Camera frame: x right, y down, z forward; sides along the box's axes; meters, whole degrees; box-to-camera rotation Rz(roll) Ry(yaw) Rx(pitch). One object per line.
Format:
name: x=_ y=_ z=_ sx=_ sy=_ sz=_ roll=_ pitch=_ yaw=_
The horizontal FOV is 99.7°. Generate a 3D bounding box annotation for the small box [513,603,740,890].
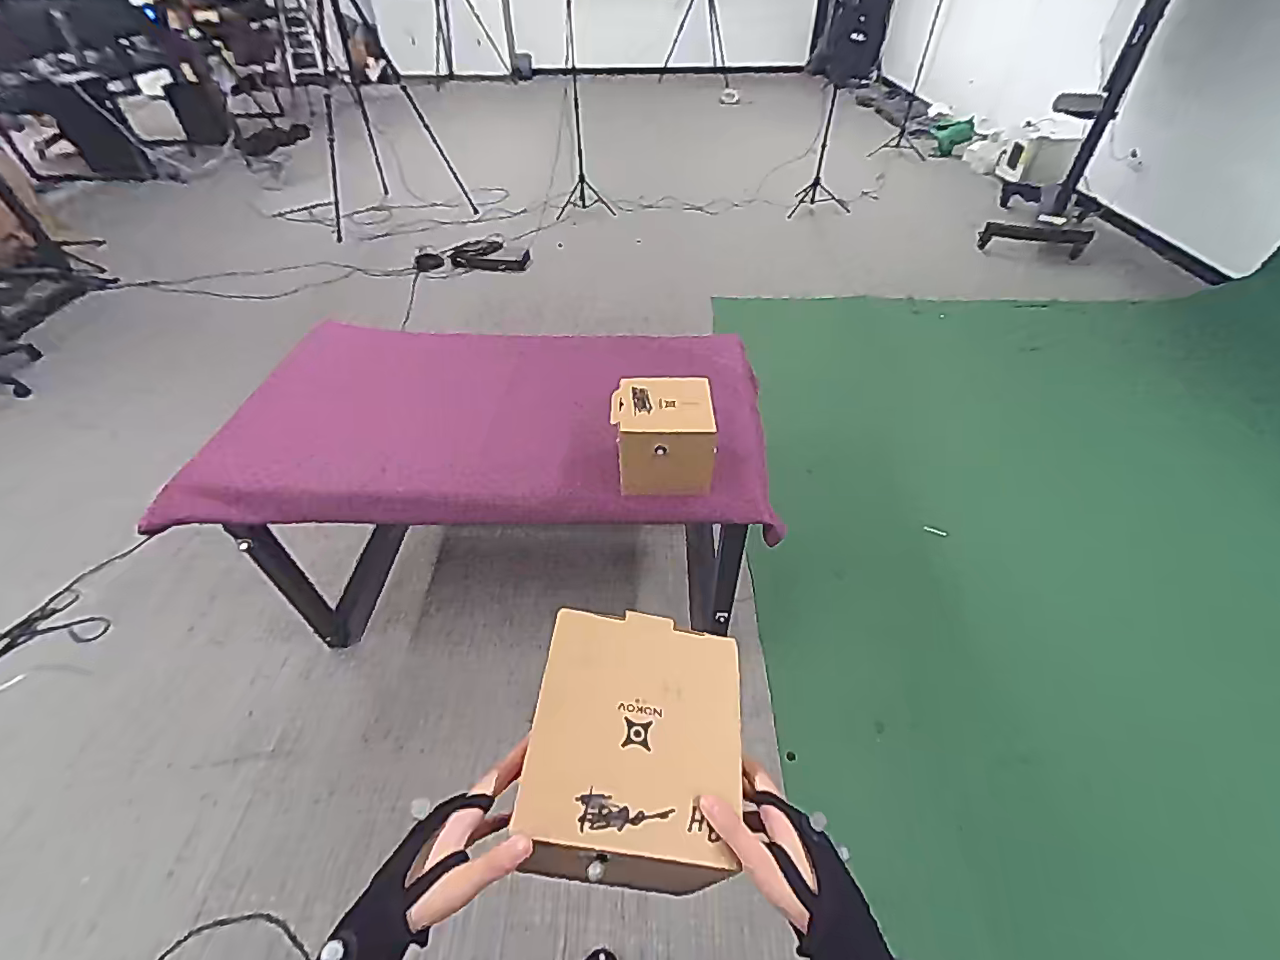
small box: x=-0.014 y=0.242 z=0.489 sx=0.168 sy=0.176 sz=0.179 roll=11 pitch=46 yaw=-2

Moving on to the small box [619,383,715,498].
small box: x=0.051 y=-0.076 z=1.073 sx=0.179 sy=0.176 sz=0.168 roll=0 pitch=45 yaw=0
